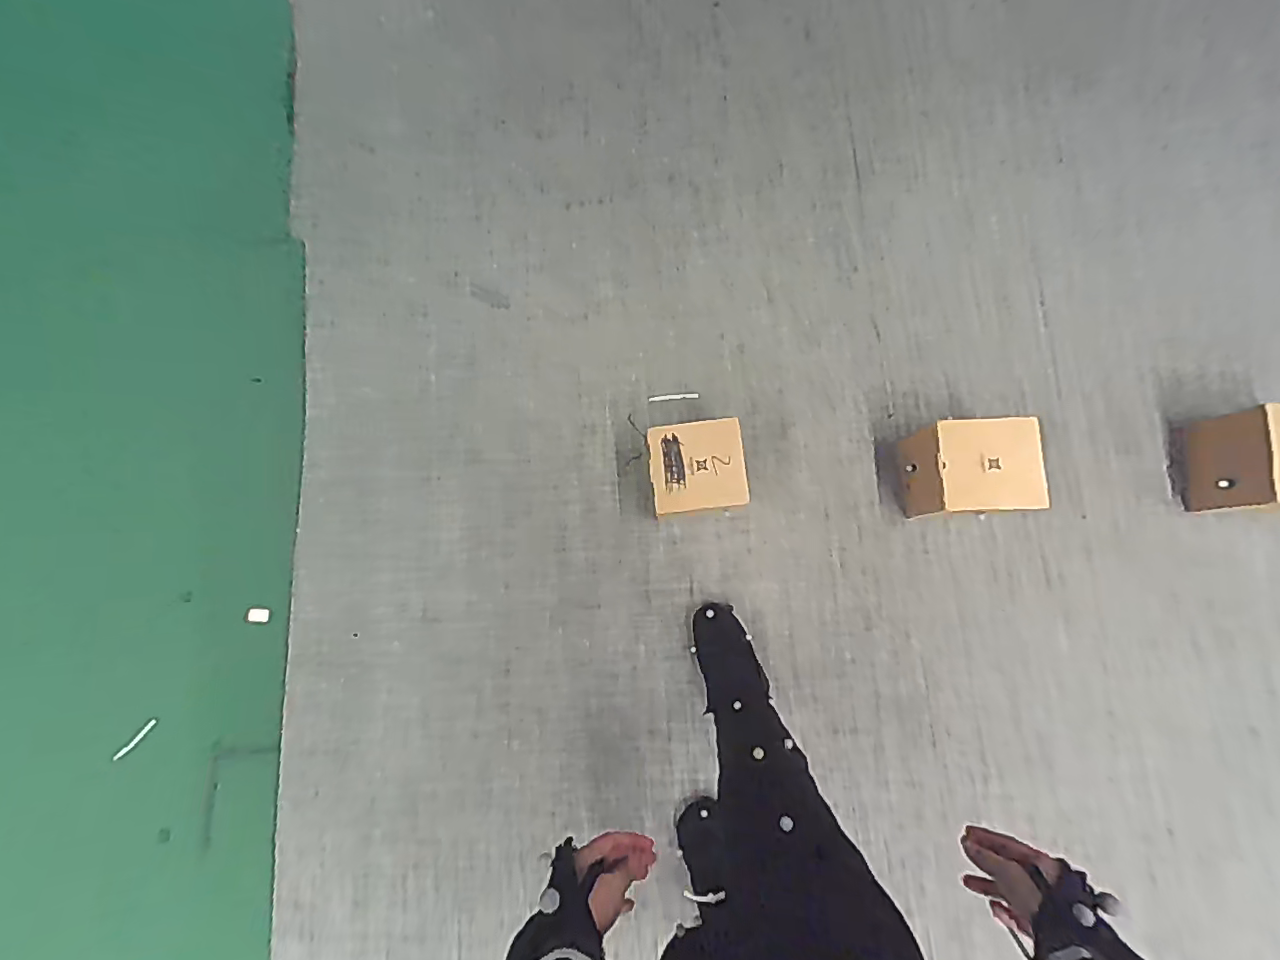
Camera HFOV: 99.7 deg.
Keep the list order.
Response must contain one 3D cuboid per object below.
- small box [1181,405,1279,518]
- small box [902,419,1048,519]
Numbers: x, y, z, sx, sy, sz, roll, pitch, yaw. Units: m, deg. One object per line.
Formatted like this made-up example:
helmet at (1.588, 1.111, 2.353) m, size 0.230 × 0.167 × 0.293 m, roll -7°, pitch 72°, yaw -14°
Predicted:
small box at (1.144, -0.026, 0.977) m, size 0.168 × 0.176 × 0.179 m, roll 2°, pitch 80°, yaw 4°
small box at (0.622, -0.015, 1.025) m, size 0.179 × 0.176 × 0.168 m, roll -2°, pitch 81°, yaw 6°
